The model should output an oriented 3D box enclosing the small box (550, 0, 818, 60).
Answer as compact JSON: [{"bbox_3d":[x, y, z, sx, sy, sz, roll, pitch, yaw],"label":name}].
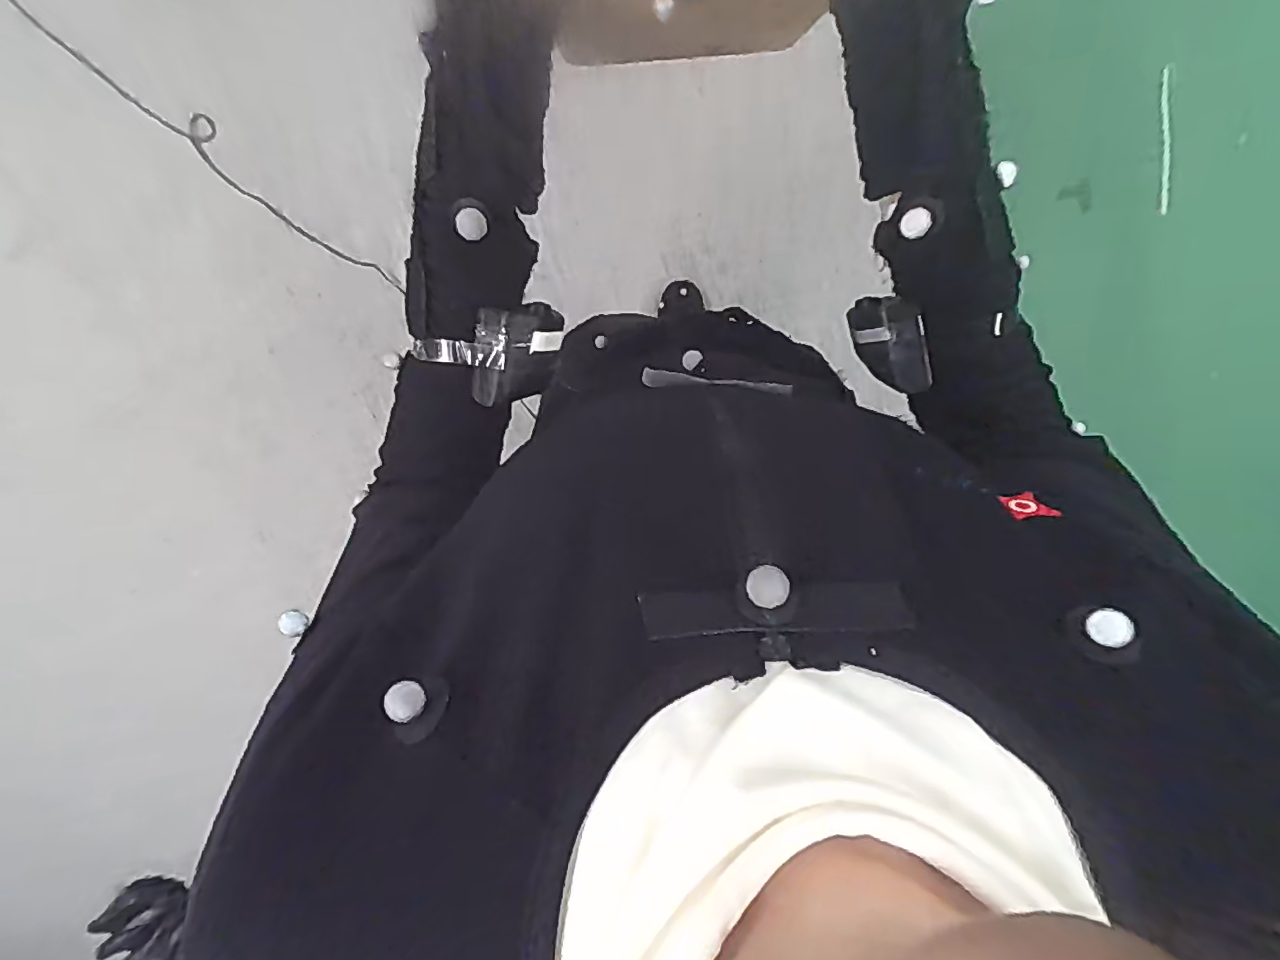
[{"bbox_3d":[0.021,-0.352,0.278,0.168,0.176,0.179,-4,115,2],"label":"small box"}]
